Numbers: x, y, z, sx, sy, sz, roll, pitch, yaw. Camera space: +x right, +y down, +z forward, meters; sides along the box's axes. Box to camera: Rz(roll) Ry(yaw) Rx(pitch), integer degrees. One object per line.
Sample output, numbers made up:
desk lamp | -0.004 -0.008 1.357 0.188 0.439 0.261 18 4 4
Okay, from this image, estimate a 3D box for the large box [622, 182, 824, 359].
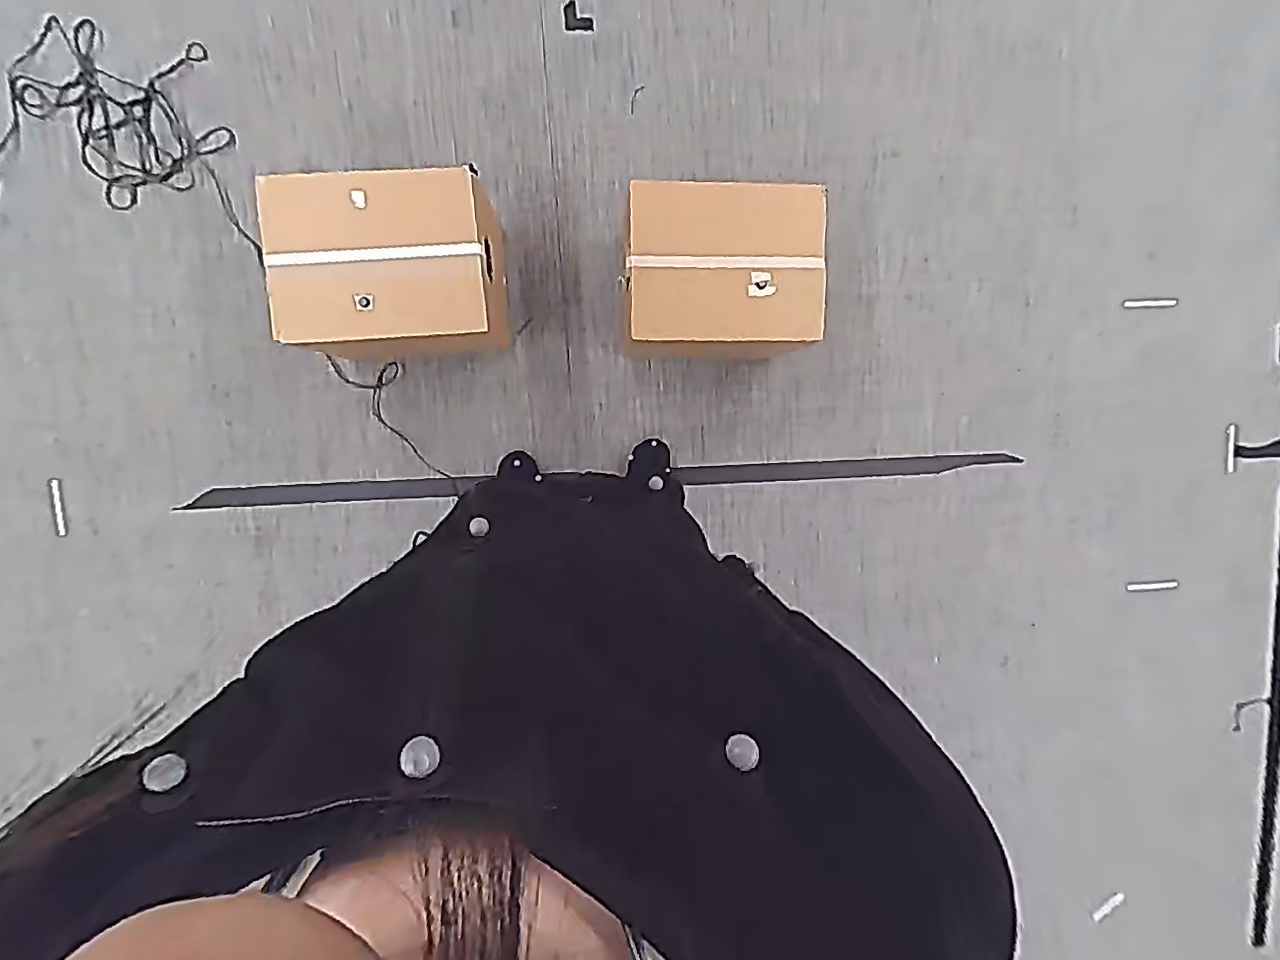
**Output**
large box | 0.168 -0.459 1.255 0.408 0.320 0.320 -1 96 -5
